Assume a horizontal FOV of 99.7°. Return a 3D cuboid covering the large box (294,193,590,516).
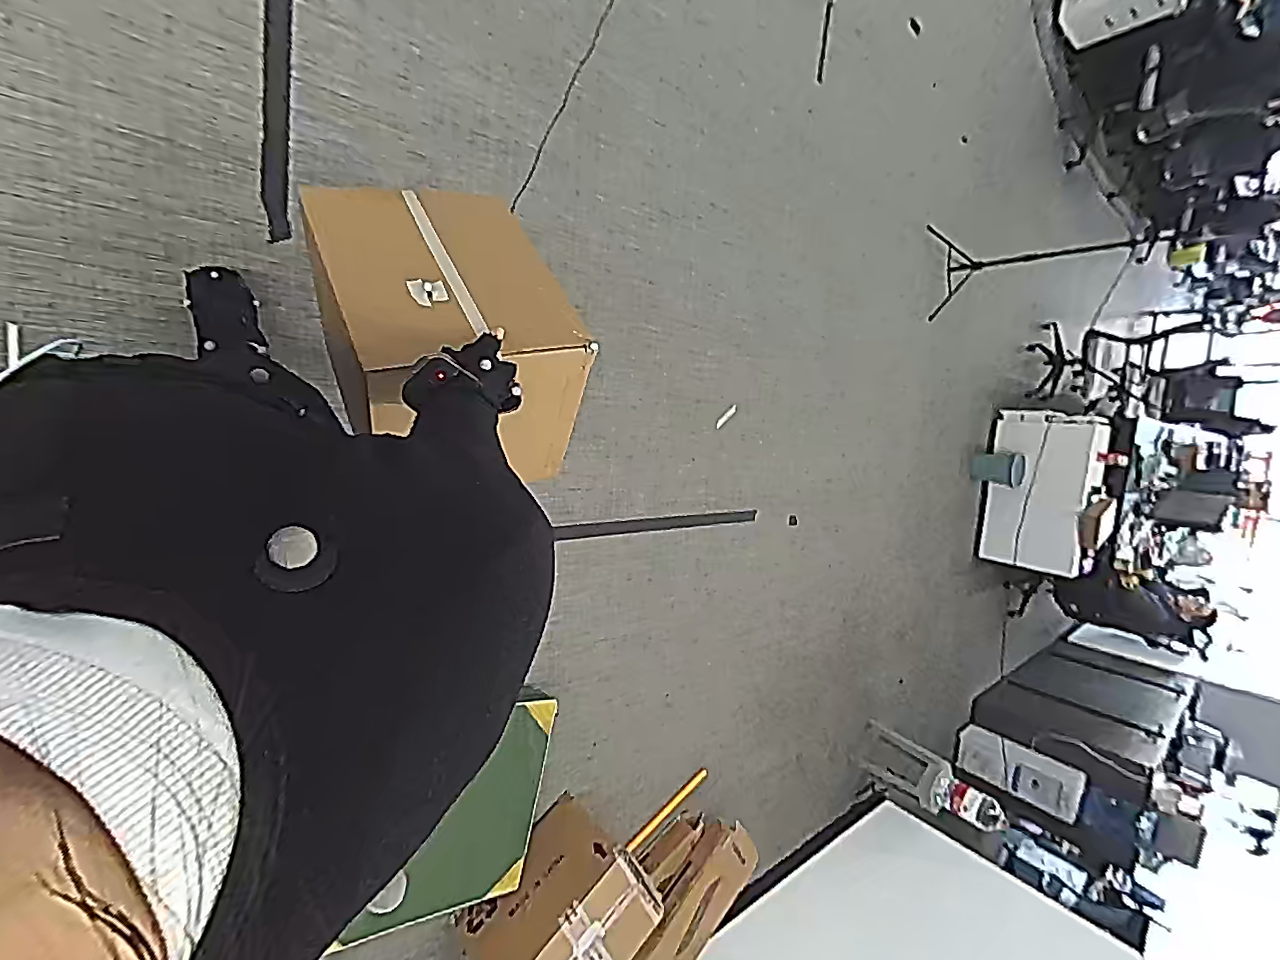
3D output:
[{"bbox_3d":[-0.335,-0.213,0.901,0.320,0.408,0.320,-15,151,-29],"label":"large box"}]
